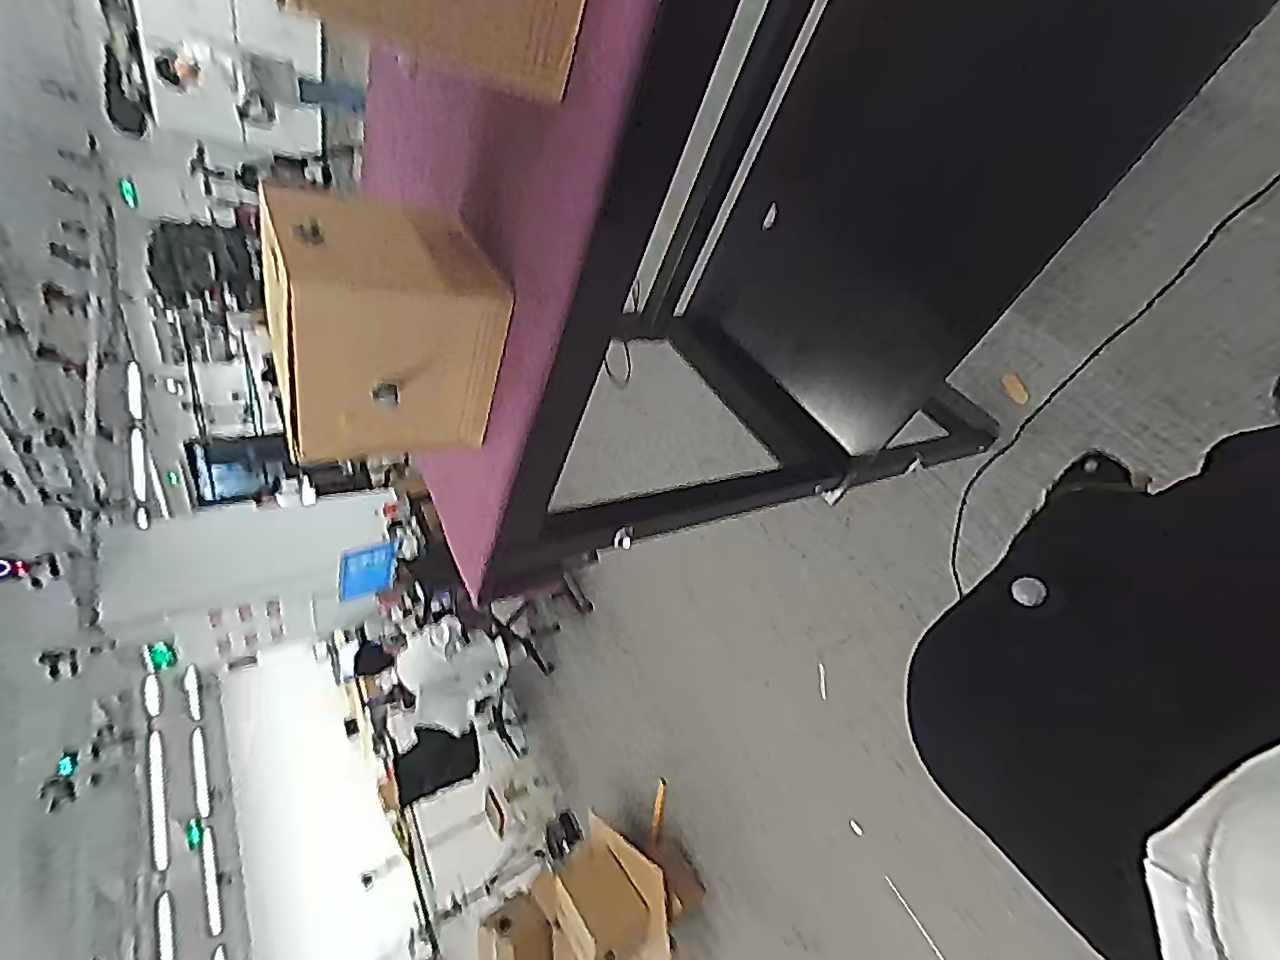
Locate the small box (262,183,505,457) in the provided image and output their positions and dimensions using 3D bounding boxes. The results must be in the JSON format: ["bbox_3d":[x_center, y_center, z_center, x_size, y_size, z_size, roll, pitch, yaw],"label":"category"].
[{"bbox_3d":[-0.241,-0.144,0.511,0.168,0.176,0.179,55,137,32],"label":"small box"}]
